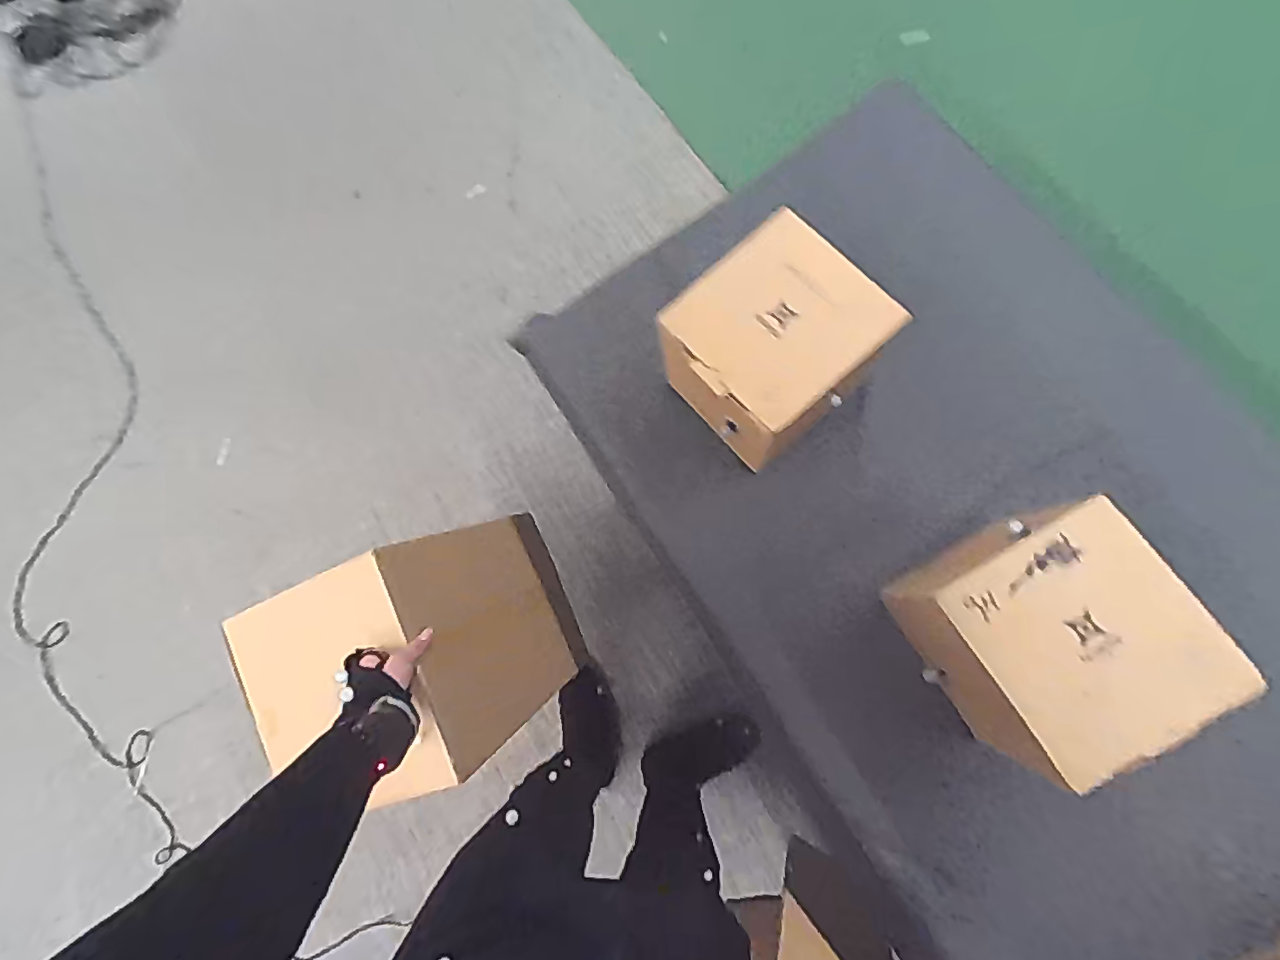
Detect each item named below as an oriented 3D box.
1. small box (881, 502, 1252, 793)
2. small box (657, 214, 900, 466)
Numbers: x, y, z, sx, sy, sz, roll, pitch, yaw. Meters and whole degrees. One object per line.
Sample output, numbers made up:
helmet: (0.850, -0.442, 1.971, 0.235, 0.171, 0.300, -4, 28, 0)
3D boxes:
small box: (0.364, 0.142, 0.506, 0.168, 0.176, 0.179, -31, 76, 1)
small box: (0.141, -0.139, 0.600, 0.179, 0.176, 0.168, -41, 77, -3)
